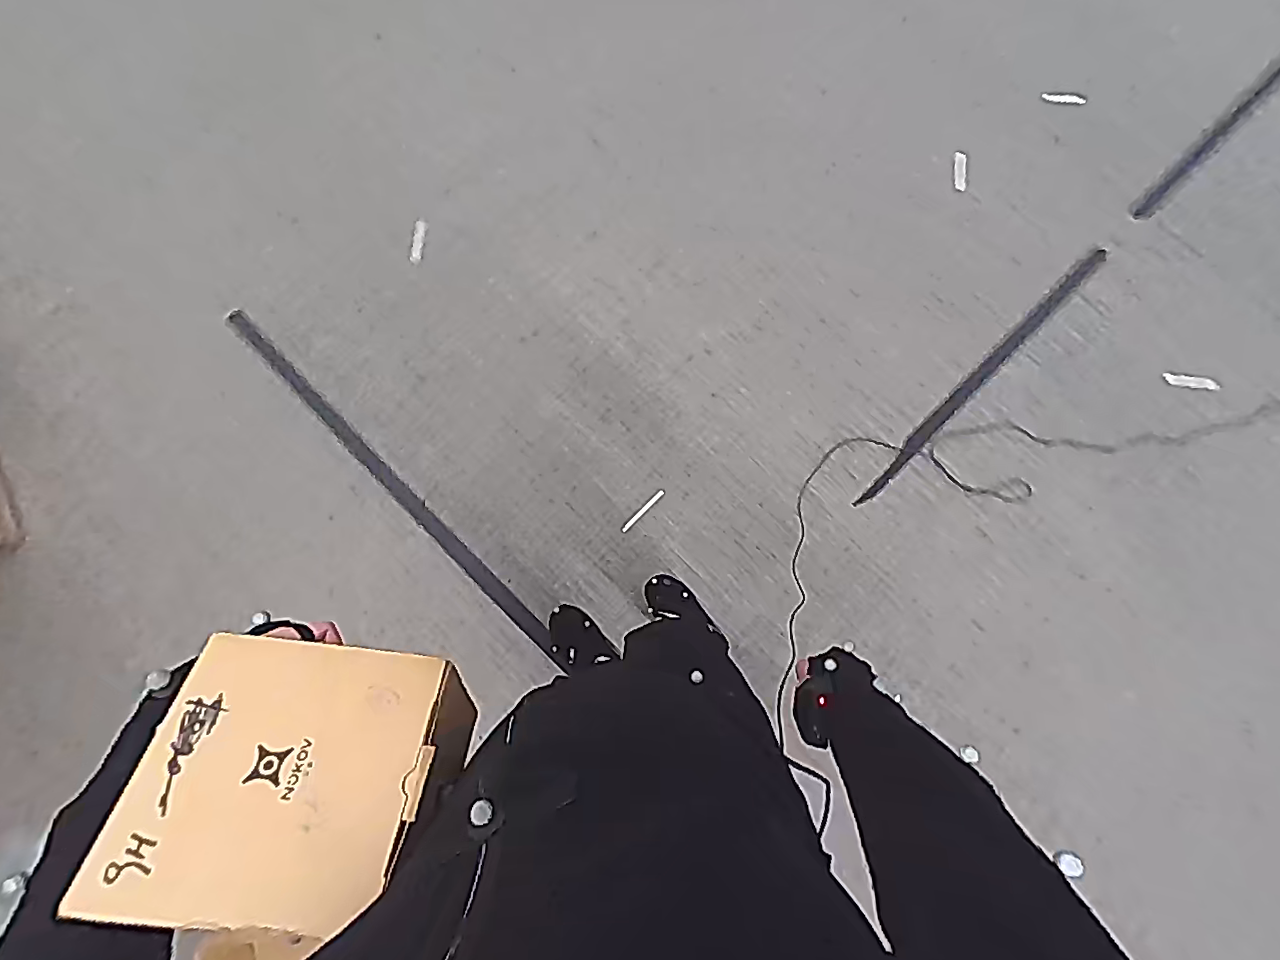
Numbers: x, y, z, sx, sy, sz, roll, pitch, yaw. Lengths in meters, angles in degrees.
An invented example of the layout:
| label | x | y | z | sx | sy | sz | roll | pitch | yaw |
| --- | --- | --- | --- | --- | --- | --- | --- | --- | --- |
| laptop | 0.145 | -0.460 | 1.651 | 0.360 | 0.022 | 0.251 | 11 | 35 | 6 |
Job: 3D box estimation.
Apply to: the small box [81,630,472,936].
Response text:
| label | x | y | z | sx | sy | sz | roll | pitch | yaw |
| --- | --- | --- | --- | --- | --- | --- | --- | --- | --- |
| small box | -0.244 | 0.238 | 0.429 | 0.179 | 0.176 | 0.168 | 9 | 54 | -4 |
